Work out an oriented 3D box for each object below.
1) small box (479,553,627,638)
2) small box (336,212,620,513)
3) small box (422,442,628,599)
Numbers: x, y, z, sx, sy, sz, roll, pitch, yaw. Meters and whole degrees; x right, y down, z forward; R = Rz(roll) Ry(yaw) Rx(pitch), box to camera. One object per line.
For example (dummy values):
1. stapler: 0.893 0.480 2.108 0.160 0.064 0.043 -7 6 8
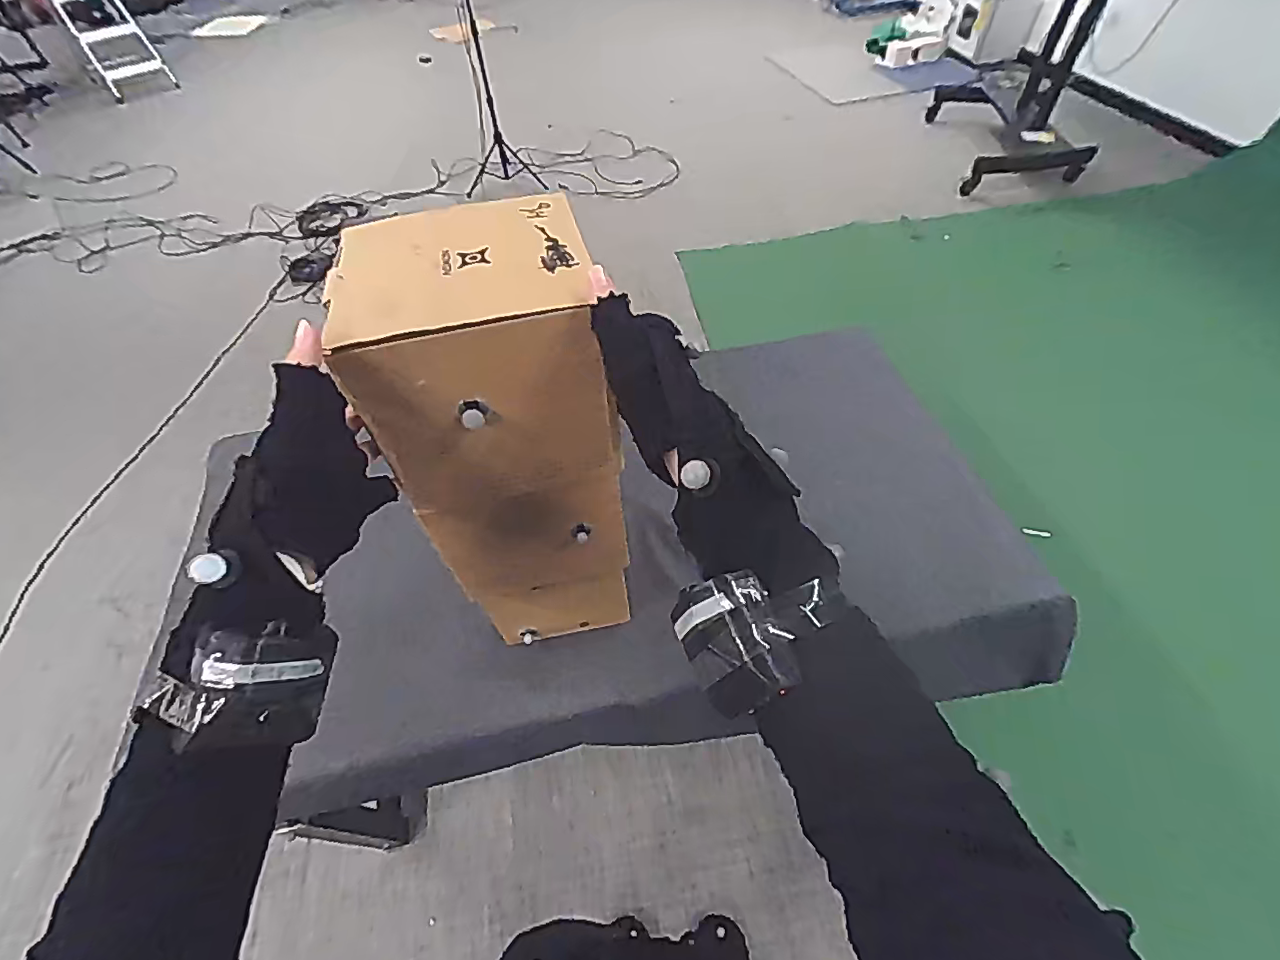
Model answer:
1. small box: -0.114 0.093 0.715 0.168 0.176 0.179 -10 51 -5
2. small box: -0.120 -0.094 0.450 0.179 0.176 0.168 -14 50 -10
3. small box: -0.115 -0.002 0.563 0.179 0.176 0.168 -14 52 -9
